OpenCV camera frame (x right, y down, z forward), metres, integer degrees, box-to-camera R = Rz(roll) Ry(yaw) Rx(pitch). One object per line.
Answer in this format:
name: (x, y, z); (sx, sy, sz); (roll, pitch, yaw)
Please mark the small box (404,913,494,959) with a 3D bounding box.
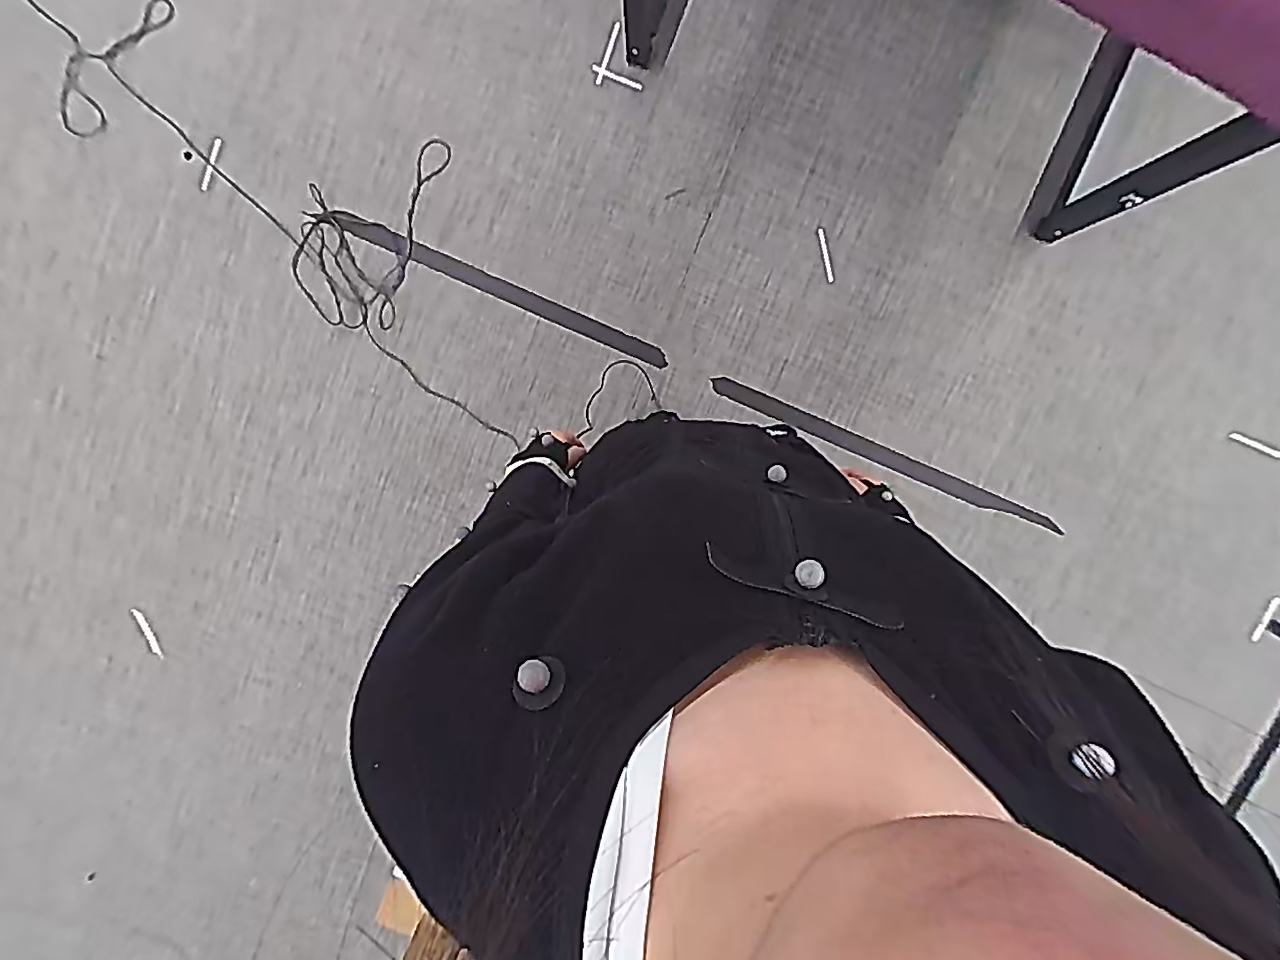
small box: (-0.410, 1.032, 1.085); (0.168, 0.176, 0.179); (20, 97, 0)
